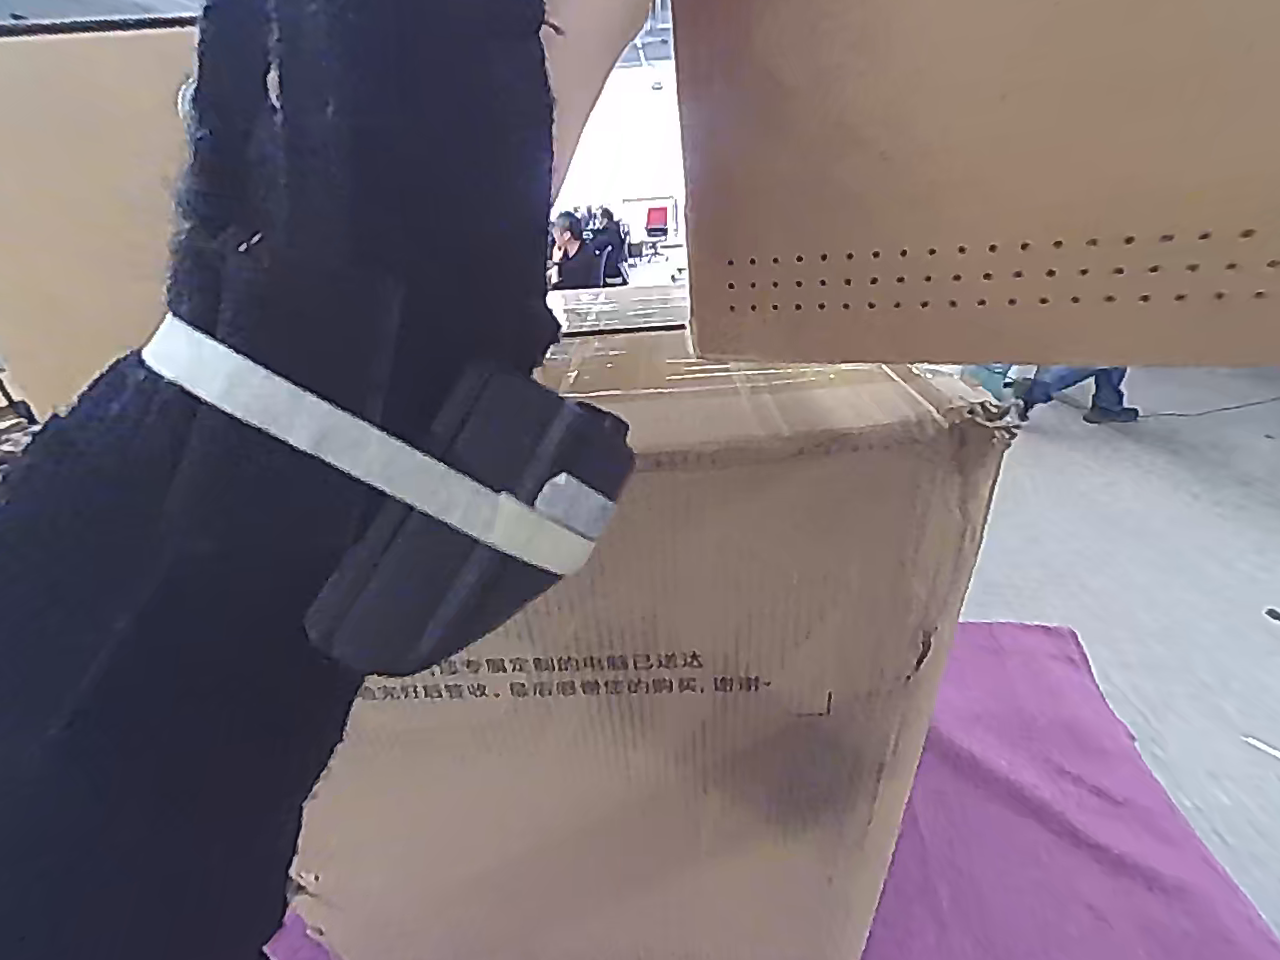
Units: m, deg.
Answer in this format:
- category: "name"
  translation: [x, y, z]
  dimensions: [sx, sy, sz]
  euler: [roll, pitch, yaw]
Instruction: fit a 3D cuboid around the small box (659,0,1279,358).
- category: "small box"
  translation: [0.113, -0.141, 0.158]
  dimensions: [0.179, 0.176, 0.168]
  euler: [5, 34, 23]
